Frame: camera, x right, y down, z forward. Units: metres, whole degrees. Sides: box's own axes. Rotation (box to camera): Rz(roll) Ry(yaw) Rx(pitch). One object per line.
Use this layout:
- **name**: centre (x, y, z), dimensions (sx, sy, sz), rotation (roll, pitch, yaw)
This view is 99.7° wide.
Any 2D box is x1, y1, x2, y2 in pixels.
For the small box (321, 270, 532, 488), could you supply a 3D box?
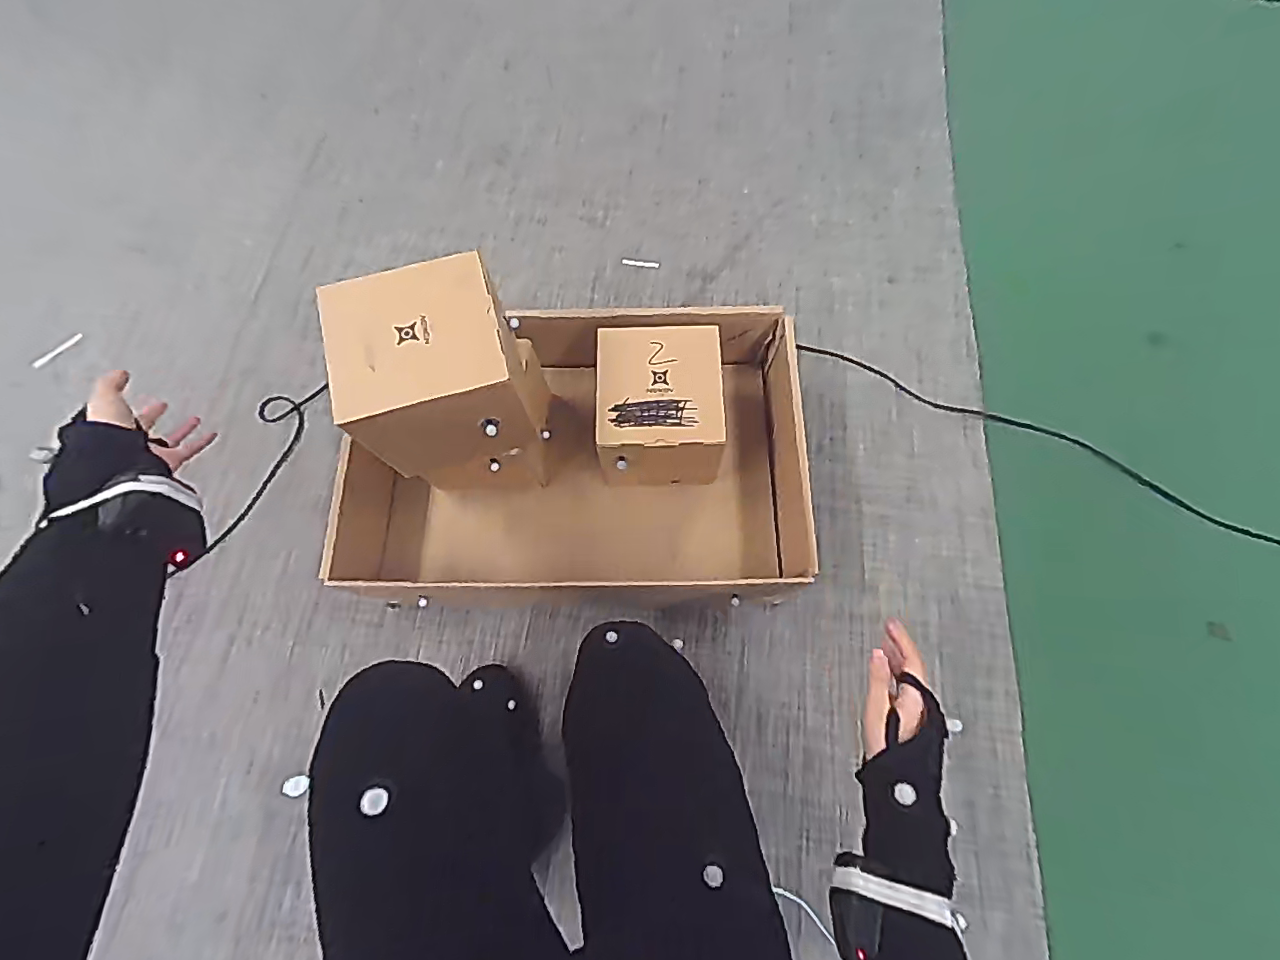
- **small box**: centre (-0.232, -0.107, 0.629), dimensions (0.179, 0.176, 0.168), rotation (-15, 72, -4)

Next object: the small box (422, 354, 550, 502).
- **small box**: centre (-0.237, -0.069, 0.789), dimensions (0.179, 0.176, 0.168), rotation (1, 71, 0)
